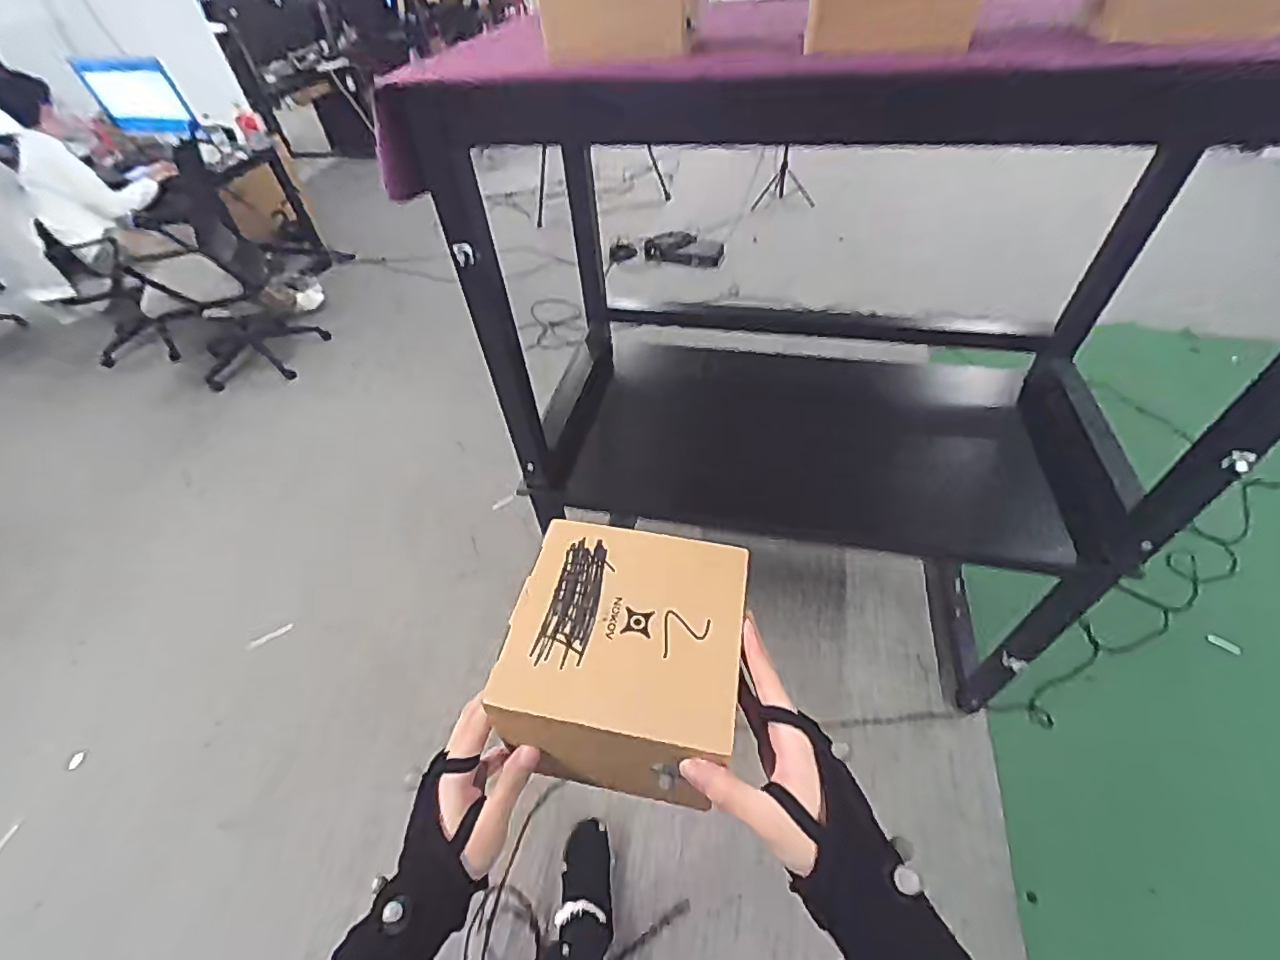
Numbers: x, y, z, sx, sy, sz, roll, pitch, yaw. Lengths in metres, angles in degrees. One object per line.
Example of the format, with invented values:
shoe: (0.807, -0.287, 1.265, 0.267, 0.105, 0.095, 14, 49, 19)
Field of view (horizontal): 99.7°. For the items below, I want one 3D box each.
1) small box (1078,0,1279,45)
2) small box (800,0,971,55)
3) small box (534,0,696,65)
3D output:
small box: (0.574, -0.549, 0.532, 0.179, 0.176, 0.168, 10, 49, 14)
small box: (0.277, -0.590, 0.599, 0.179, 0.176, 0.168, 7, 48, 11)
small box: (-0.026, -0.623, 0.652, 0.179, 0.176, 0.168, 5, 48, 10)
